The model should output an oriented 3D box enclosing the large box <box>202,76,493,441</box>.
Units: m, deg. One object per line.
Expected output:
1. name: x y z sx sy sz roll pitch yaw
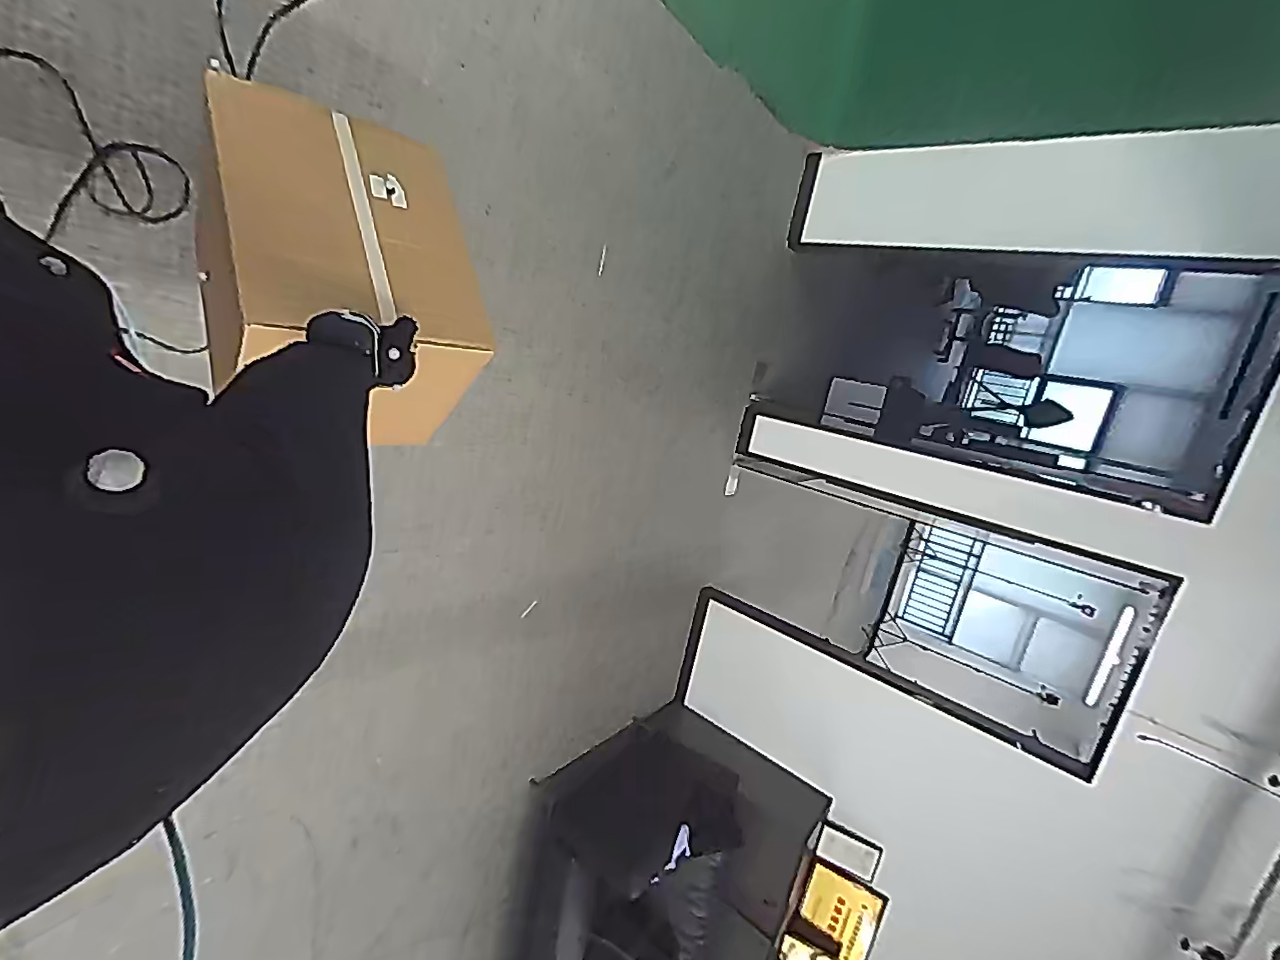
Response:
1. large box: -0.486 -0.309 0.873 0.320 0.320 0.408 -4 68 -44
